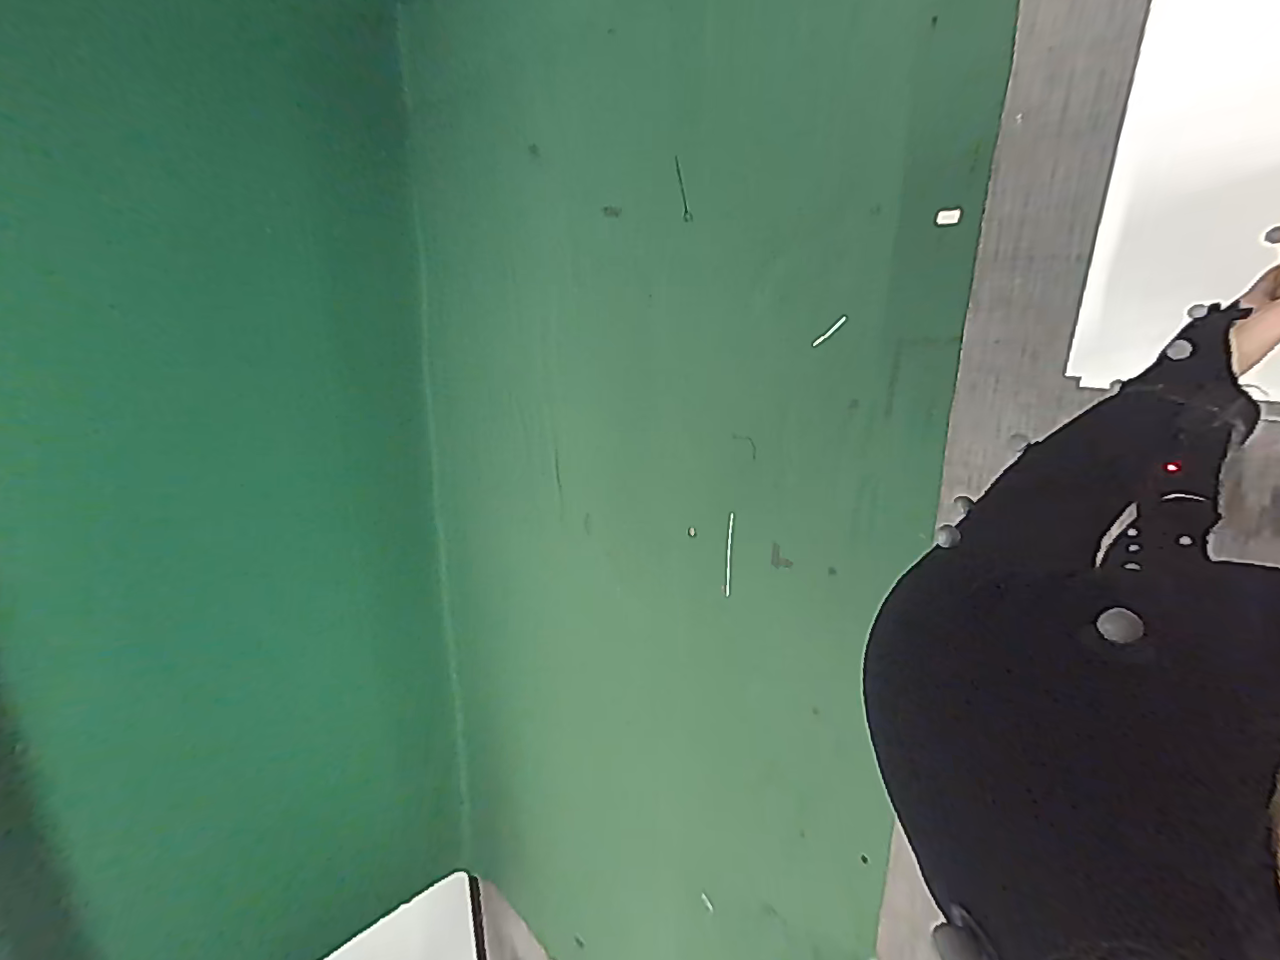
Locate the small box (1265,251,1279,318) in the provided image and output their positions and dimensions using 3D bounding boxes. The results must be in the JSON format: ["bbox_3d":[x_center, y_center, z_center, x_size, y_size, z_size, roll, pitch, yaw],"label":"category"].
[{"bbox_3d":[0.651,-0.215,0.430,0.179,0.176,0.168,18,112,45],"label":"small box"}]
